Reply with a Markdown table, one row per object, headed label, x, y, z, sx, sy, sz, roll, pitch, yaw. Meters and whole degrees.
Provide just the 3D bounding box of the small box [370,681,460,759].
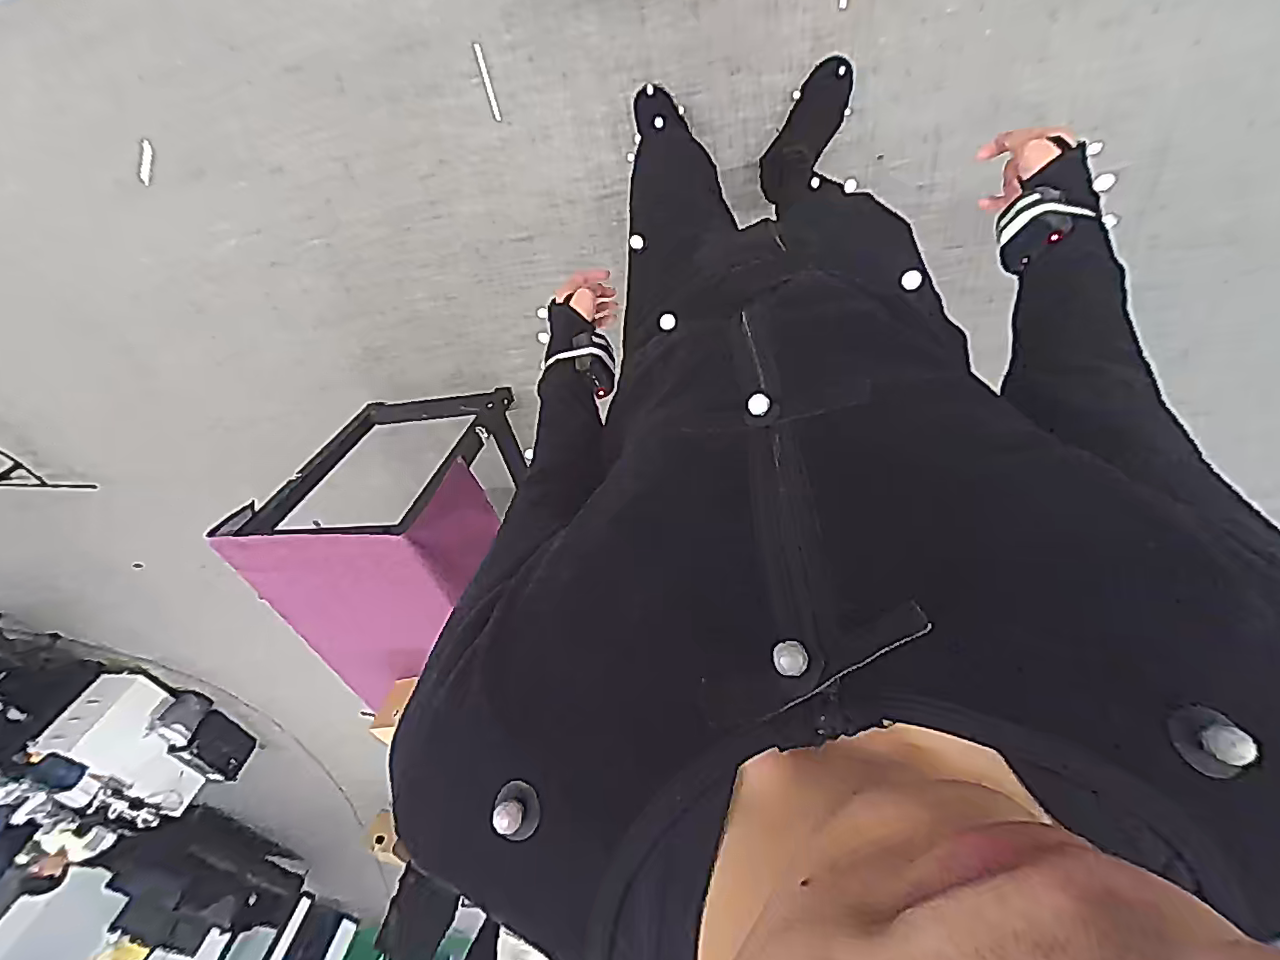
| label | x | y | z | sx | sy | sz | roll | pitch | yaw |
| --- | --- | --- | --- | --- | --- | --- | --- | --- | --- |
| small box | -0.690 | 0.746 | 1.687 | 0.179 | 0.176 | 0.168 | -14 | 124 | 23 |
